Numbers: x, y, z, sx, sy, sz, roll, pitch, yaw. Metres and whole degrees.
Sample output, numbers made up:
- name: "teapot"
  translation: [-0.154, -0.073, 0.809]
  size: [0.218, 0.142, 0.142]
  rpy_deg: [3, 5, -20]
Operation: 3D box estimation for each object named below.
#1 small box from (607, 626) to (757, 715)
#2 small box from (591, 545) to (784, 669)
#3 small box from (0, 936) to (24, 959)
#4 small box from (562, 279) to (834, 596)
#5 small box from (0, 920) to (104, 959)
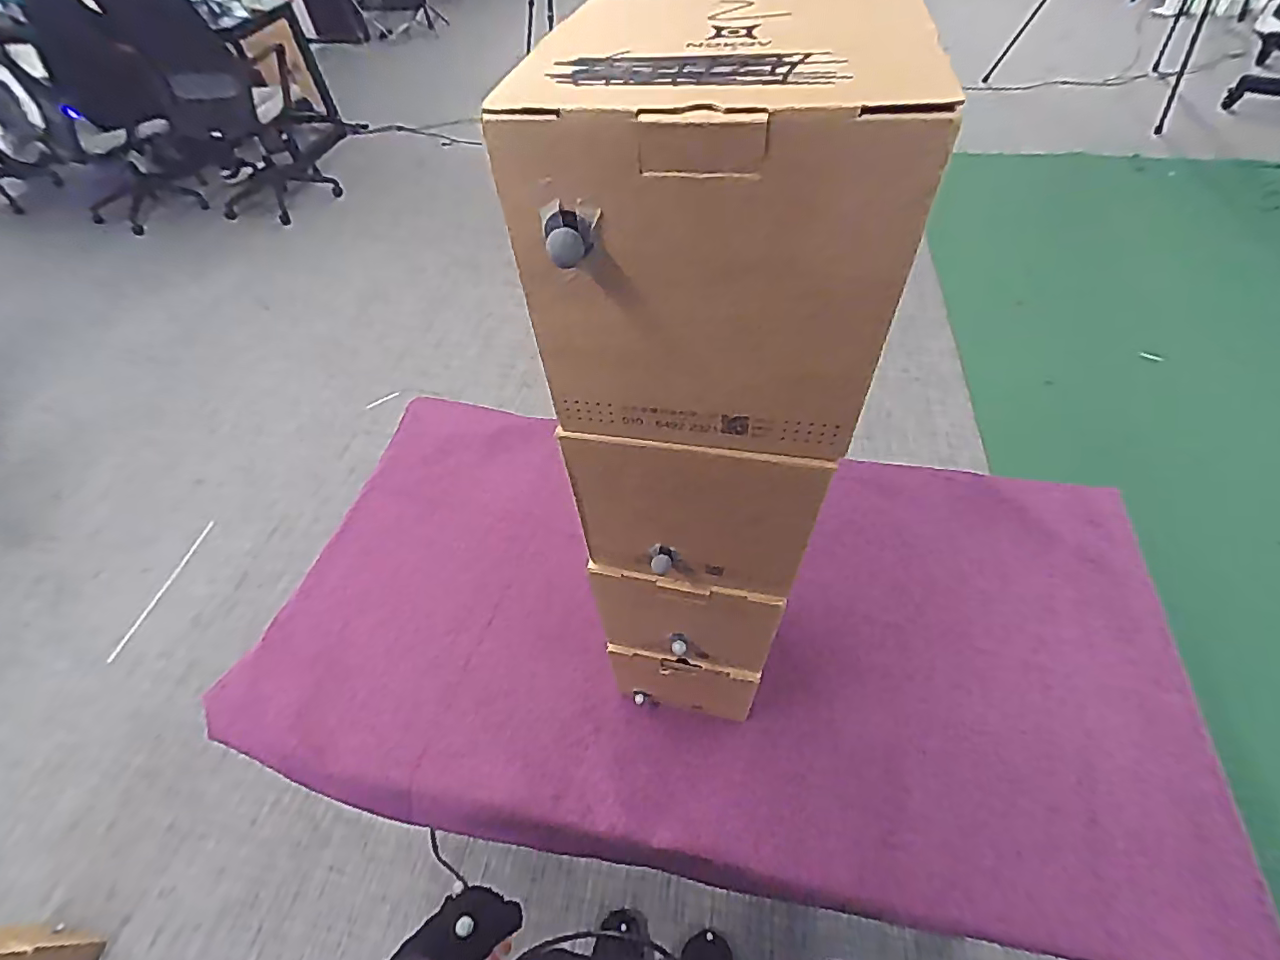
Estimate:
- name: "small box"
  translation: [0.067, 0.177, 0.684]
  size: [0.168, 0.176, 0.179]
  rpy_deg: [9, 53, 11]
- name: "small box"
  translation: [0.059, 0.070, 0.560]
  size: [0.168, 0.176, 0.179]
  rpy_deg: [8, 54, 11]
- name: "small box"
  translation: [-1.261, 0.899, 0.928]
  size: [0.168, 0.176, 0.179]
  rpy_deg: [6, 53, 8]
- name: "small box"
  translation: [0.052, -0.033, 0.434]
  size: [0.168, 0.176, 0.179]
  rpy_deg: [8, 53, 11]
- name: "small box"
  translation: [-1.247, 0.990, 1.064]
  size: [0.179, 0.176, 0.168]
  rpy_deg: [6, 53, 9]
